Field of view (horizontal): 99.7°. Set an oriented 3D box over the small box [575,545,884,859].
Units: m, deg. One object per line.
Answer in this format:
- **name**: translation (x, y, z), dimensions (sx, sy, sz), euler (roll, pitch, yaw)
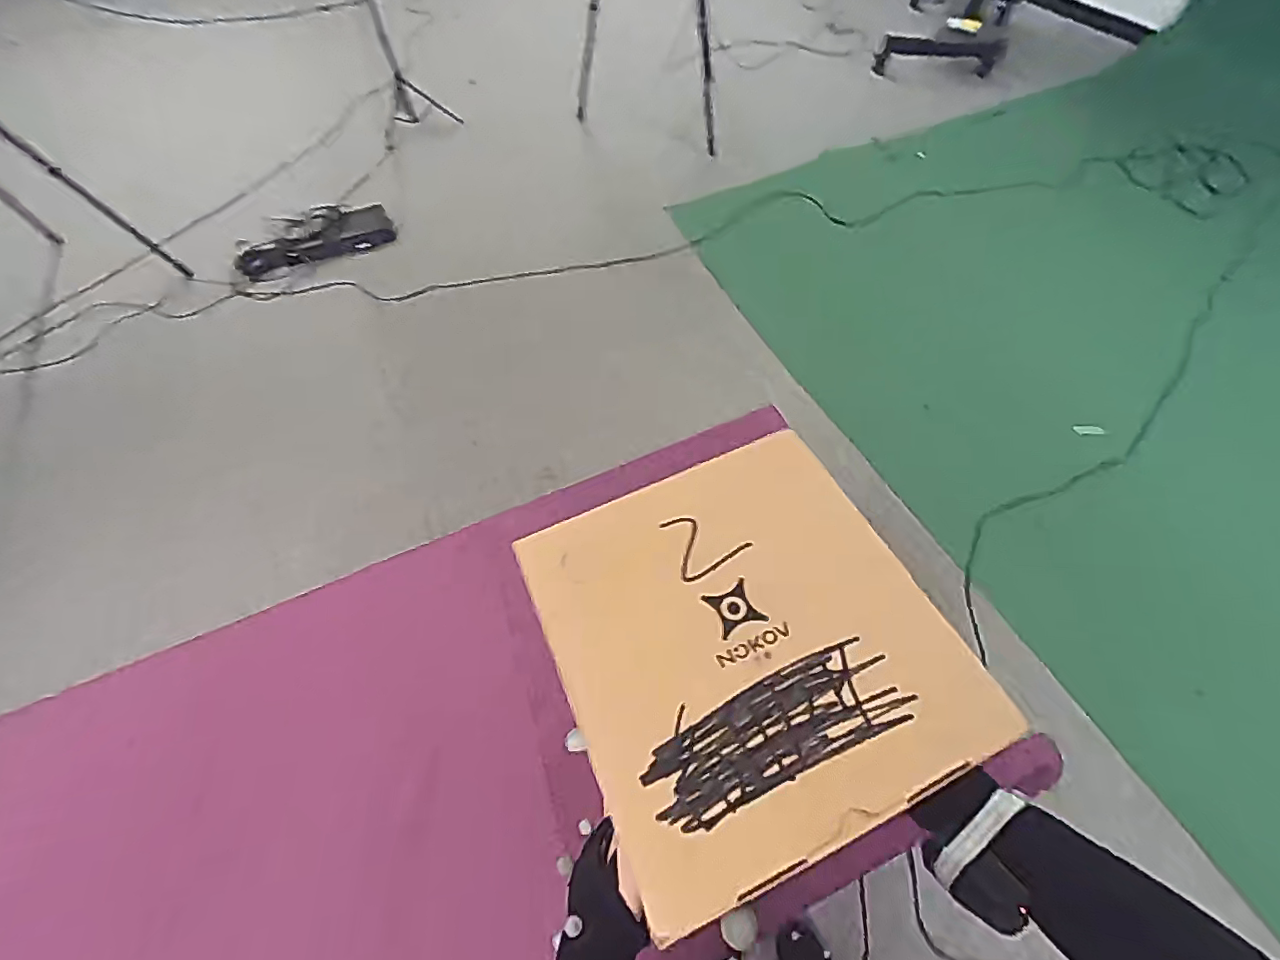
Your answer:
- **small box**: translation (0.063, 0.189, 0.464), dimensions (0.179, 0.176, 0.168), euler (-24, 58, -10)
